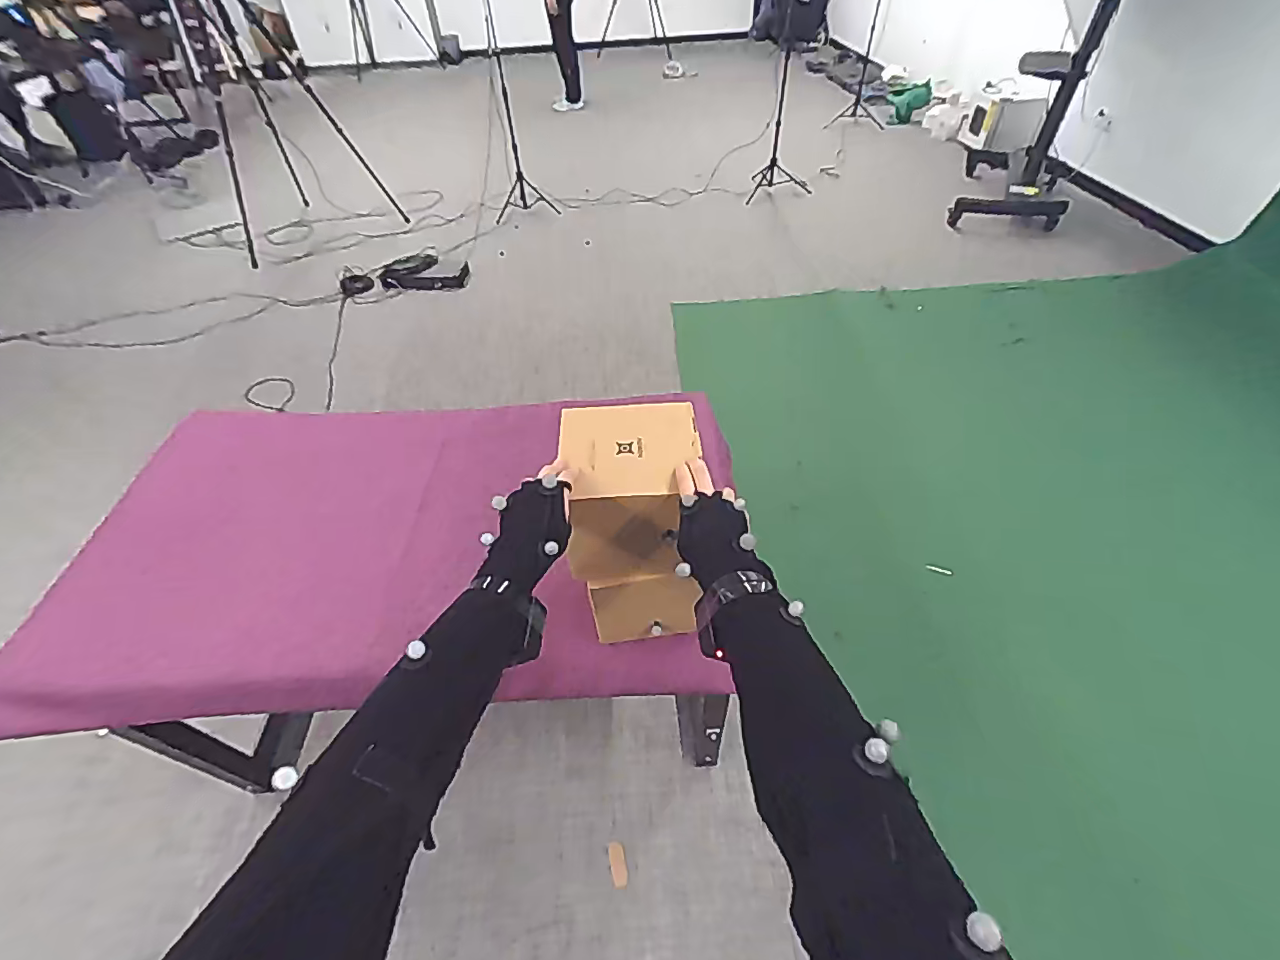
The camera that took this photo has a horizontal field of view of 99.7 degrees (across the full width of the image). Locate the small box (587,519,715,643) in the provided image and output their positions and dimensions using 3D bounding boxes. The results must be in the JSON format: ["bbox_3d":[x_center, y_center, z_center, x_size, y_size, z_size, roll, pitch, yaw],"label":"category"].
[{"bbox_3d":[0.009,0.132,0.835,0.179,0.176,0.168,-7,47,-3],"label":"small box"}]

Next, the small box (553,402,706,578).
[{"bbox_3d":[-0.010,0.016,0.722,0.179,0.176,0.168,-3,47,1],"label":"small box"}]
